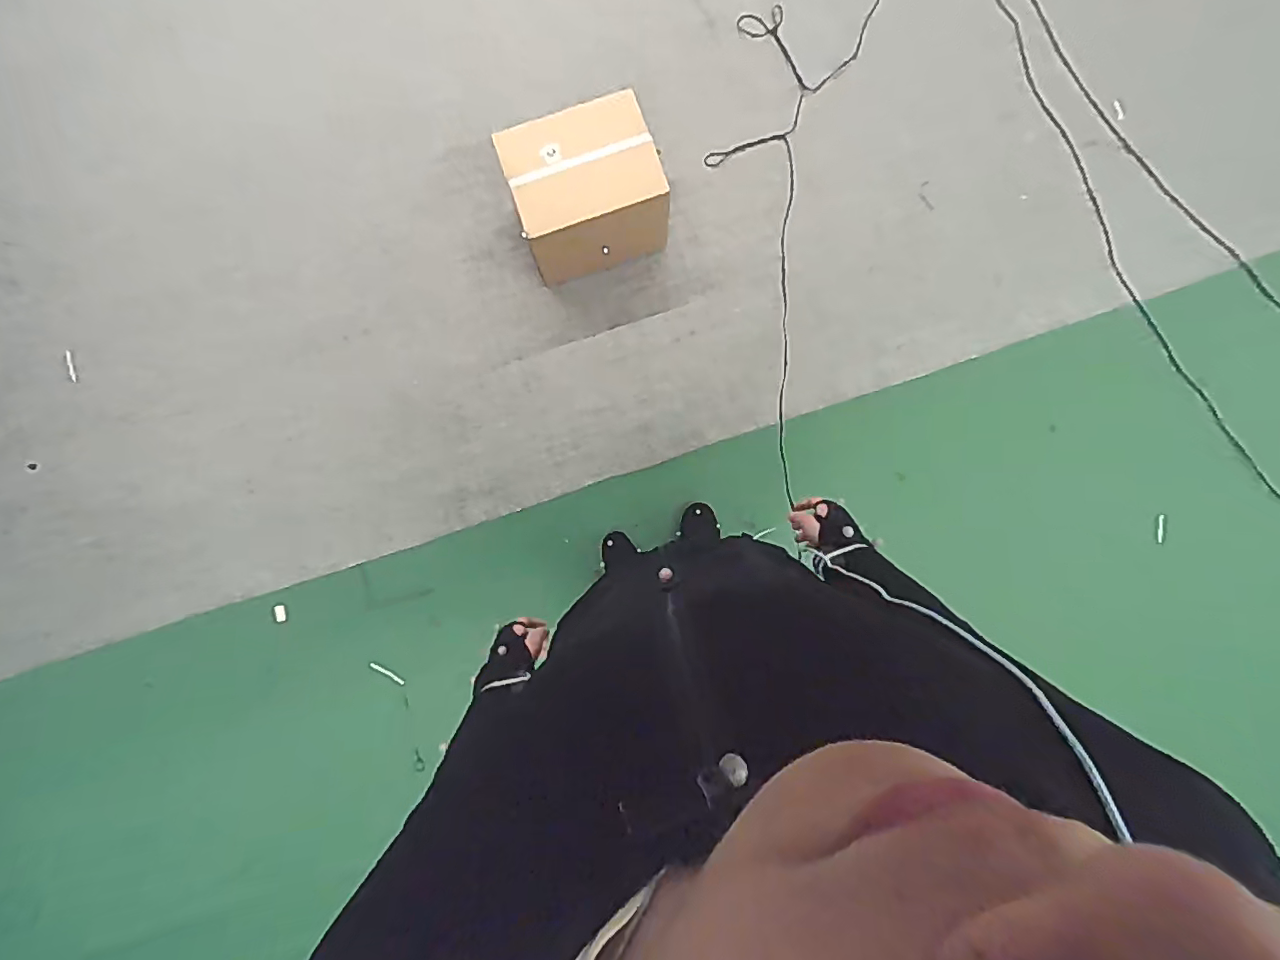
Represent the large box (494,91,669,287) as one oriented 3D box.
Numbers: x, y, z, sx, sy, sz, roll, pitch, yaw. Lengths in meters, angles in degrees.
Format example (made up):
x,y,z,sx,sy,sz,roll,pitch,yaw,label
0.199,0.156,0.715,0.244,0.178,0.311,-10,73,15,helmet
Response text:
x,y,z,sx,sy,sz,roll,pitch,yaw,label
-0.155,-0.833,1.596,0.408,0.320,0.320,-21,85,0,large box
